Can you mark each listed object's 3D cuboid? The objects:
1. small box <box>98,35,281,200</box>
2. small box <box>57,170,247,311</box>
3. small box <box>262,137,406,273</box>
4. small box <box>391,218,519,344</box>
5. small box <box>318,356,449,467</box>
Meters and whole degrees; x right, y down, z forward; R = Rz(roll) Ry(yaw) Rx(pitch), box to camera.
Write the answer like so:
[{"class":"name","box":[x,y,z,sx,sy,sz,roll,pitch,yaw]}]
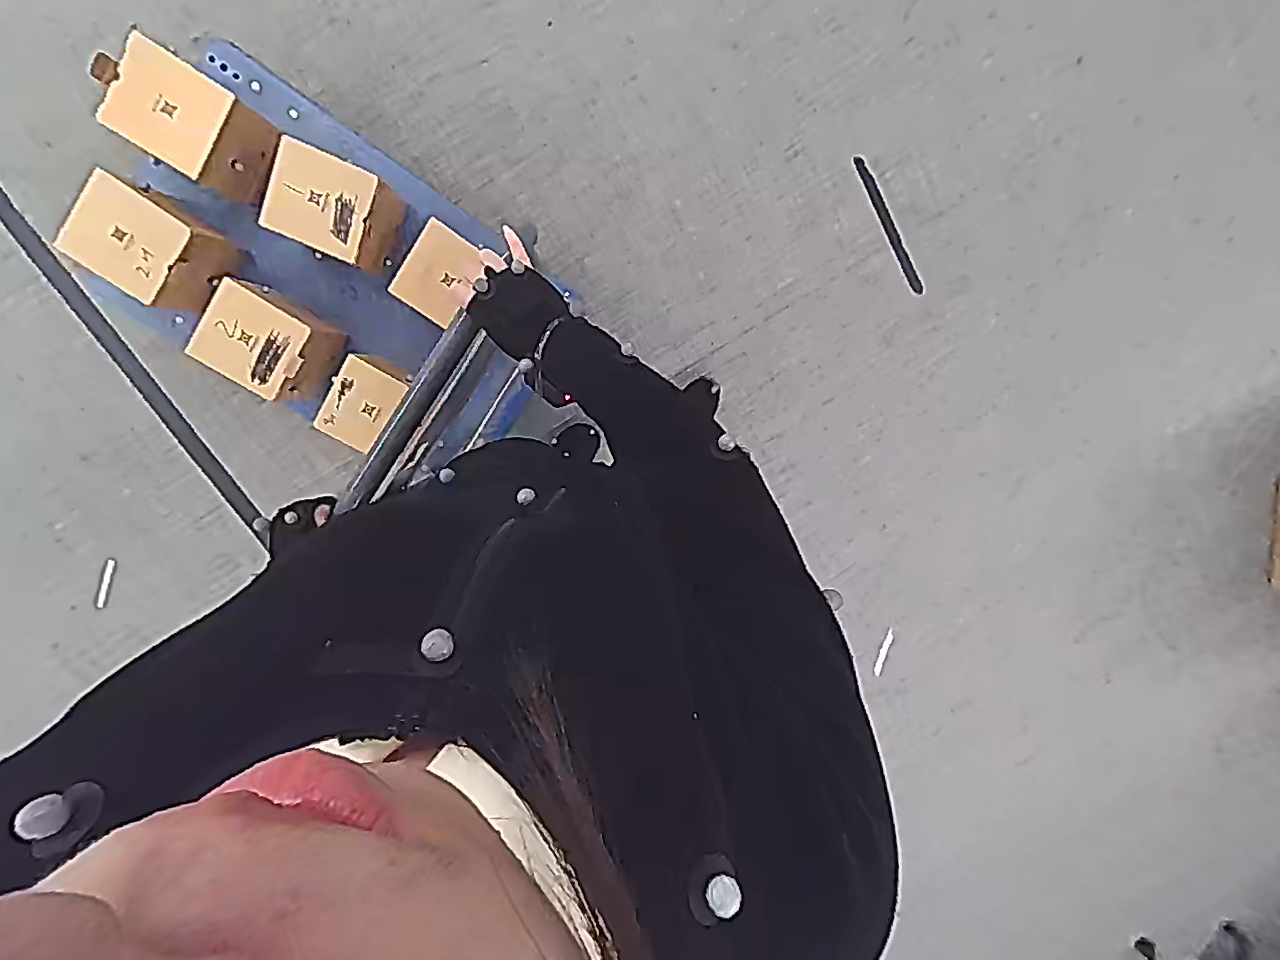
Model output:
[{"class":"small box","box":[-0.820,-0.654,1.006,0.179,0.176,0.168,30,97,-12]},{"class":"small box","box":[-0.920,-0.443,1.038,0.179,0.176,0.168,35,96,-13]},{"class":"small box","box":[-0.587,-0.523,1.062,0.179,0.176,0.168,21,99,-10]},{"class":"small box","box":[-0.368,-0.398,1.116,0.179,0.176,0.168,33,96,-12]},{"class":"small box","box":[-0.531,-0.150,1.147,0.179,0.176,0.168,29,96,-12]}]
